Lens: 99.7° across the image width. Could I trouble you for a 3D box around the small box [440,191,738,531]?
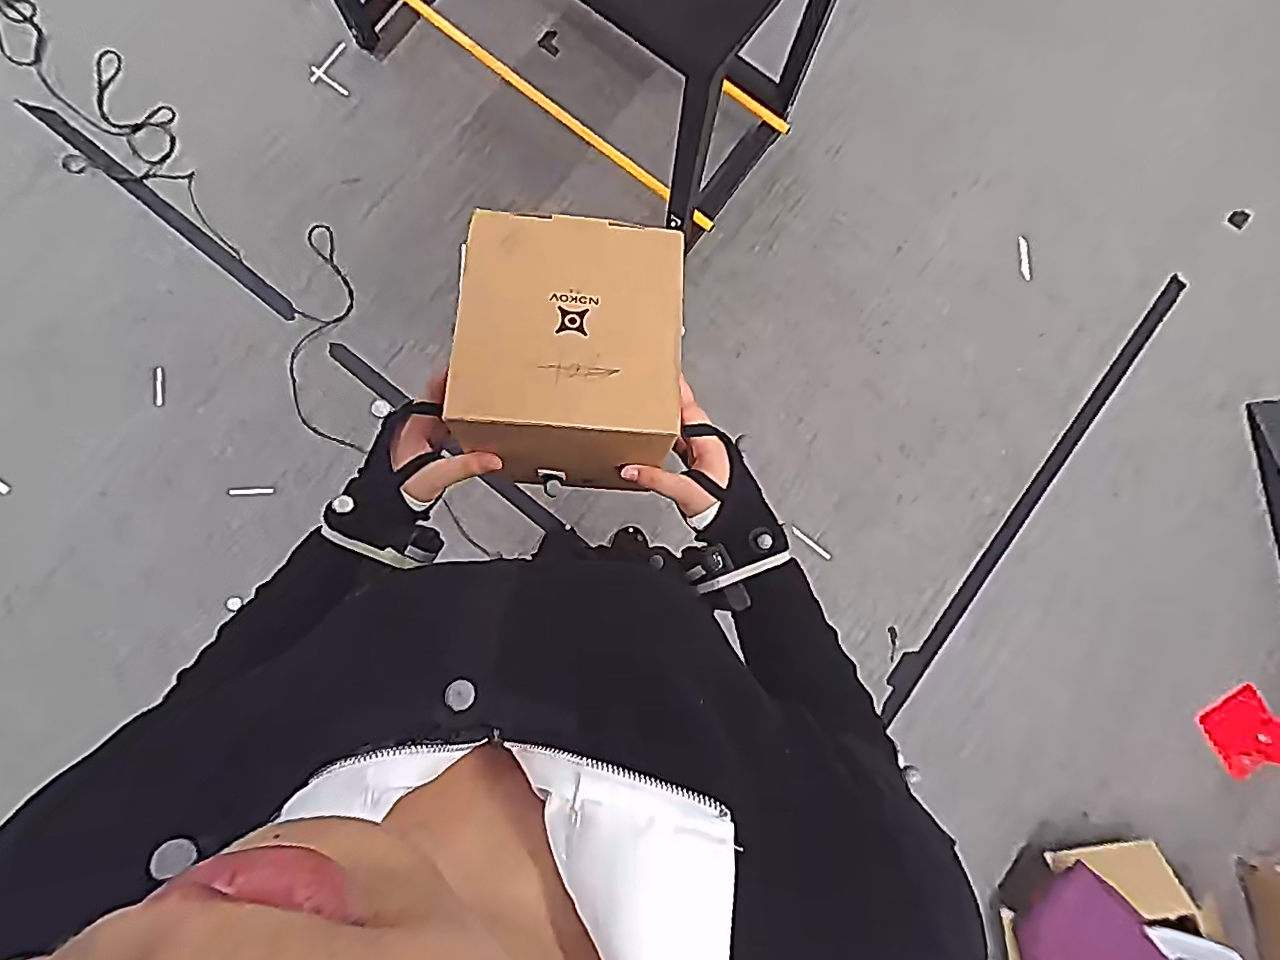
[{"bbox_3d":[-0.033,-0.067,0.392,0.168,0.176,0.179,3,75,-6],"label":"small box"}]
